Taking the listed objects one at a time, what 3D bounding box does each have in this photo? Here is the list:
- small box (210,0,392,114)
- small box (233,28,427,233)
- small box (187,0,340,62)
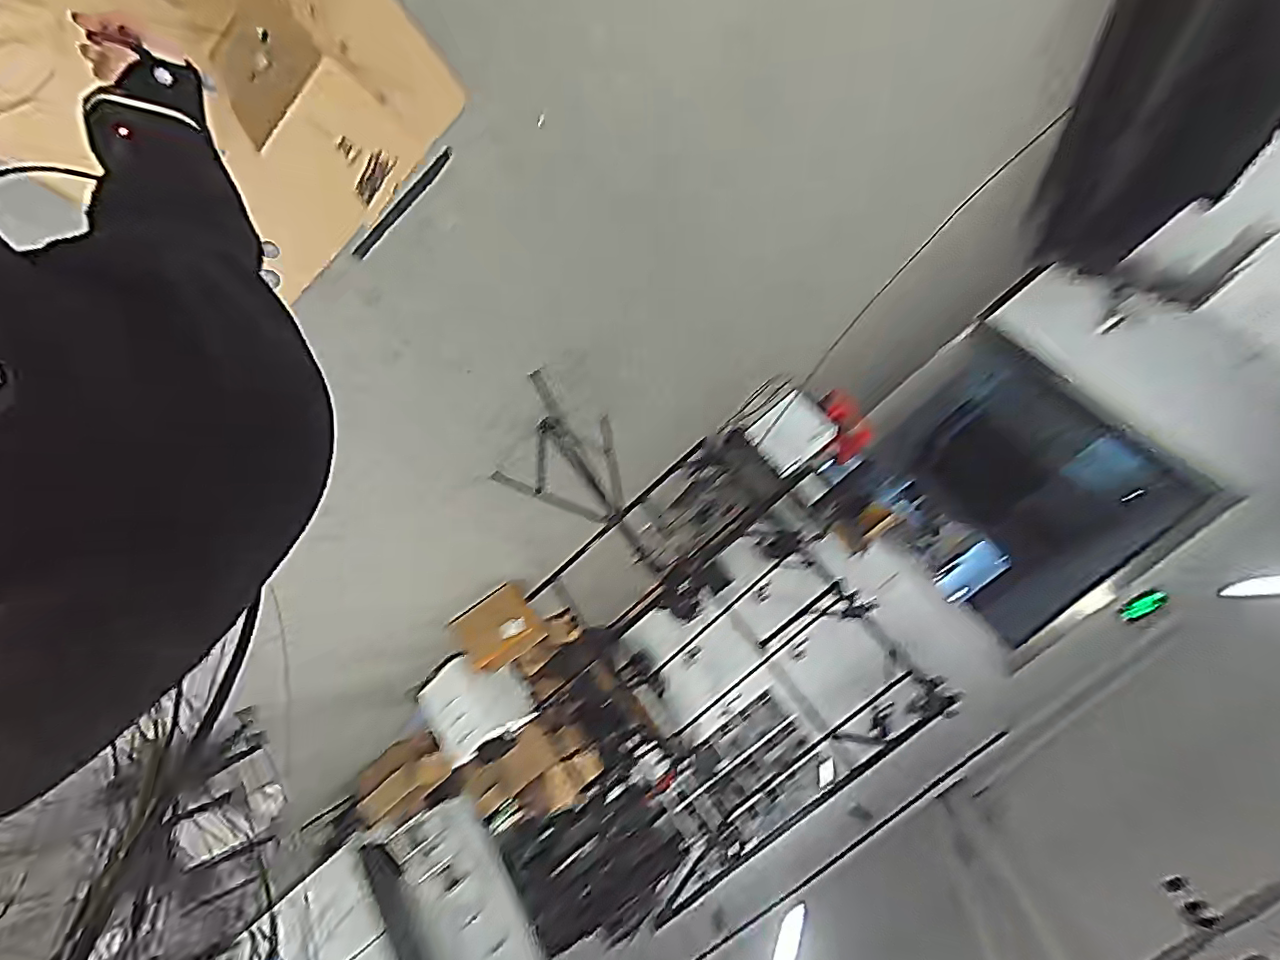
[{"bbox_3d":[-0.562,-0.656,0.901,0.168,0.176,0.179,-44,156,11],"label":"small box"},{"bbox_3d":[-0.476,-0.533,0.833,0.168,0.176,0.179,-44,154,11],"label":"small box"},{"bbox_3d":[-0.658,-0.773,0.965,0.168,0.176,0.179,-44,155,10],"label":"small box"}]
